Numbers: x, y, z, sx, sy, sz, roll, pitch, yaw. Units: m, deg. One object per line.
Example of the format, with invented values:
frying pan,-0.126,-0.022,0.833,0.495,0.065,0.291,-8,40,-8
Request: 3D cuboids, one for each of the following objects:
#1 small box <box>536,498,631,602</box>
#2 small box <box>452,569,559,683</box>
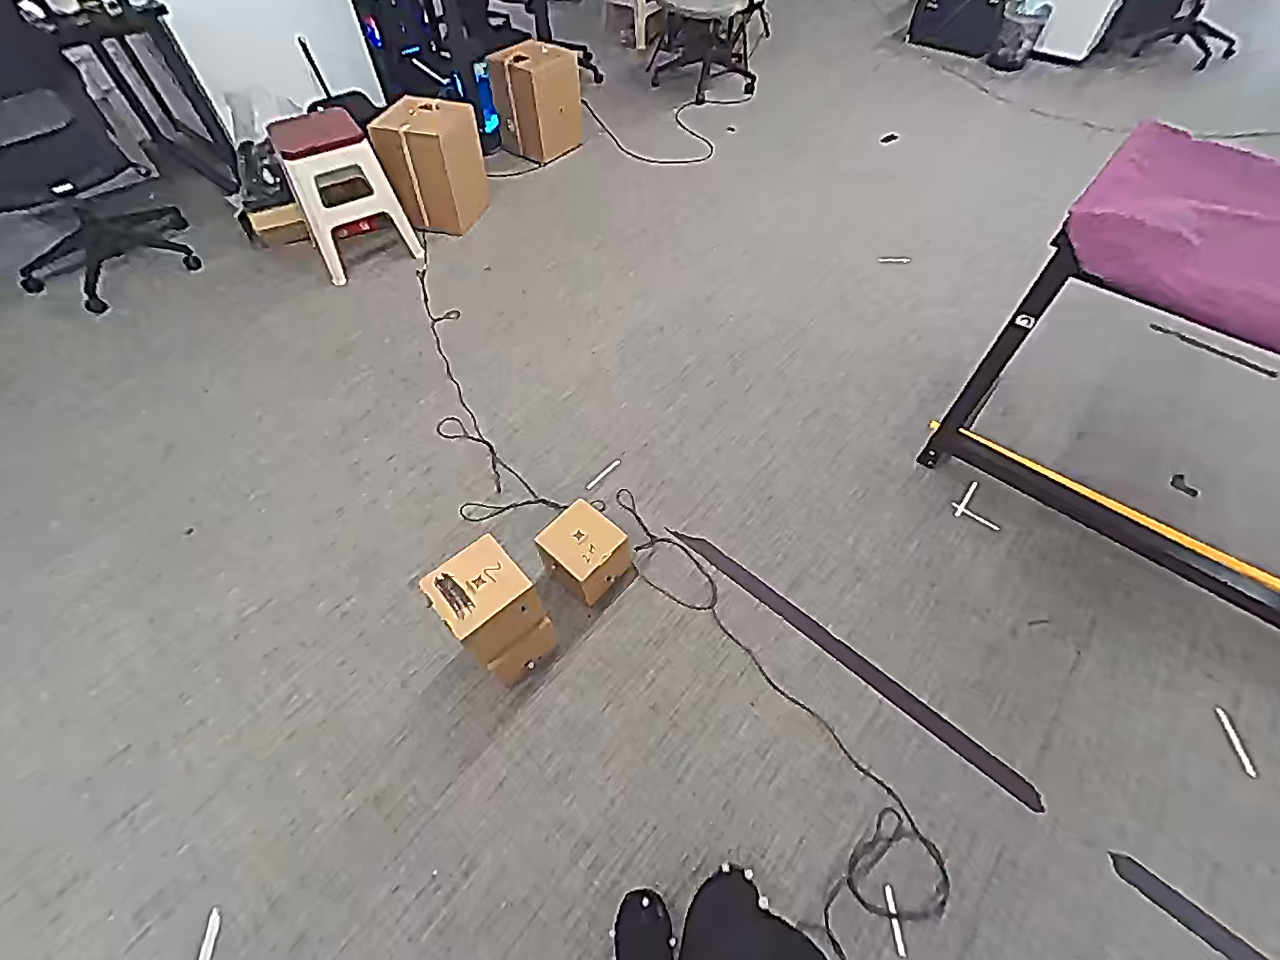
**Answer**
small box,-0.141,0.186,1.399,0.179,0.176,0.168,37,65,23
small box,-0.314,0.352,1.286,0.168,0.176,0.179,-37,64,-22
